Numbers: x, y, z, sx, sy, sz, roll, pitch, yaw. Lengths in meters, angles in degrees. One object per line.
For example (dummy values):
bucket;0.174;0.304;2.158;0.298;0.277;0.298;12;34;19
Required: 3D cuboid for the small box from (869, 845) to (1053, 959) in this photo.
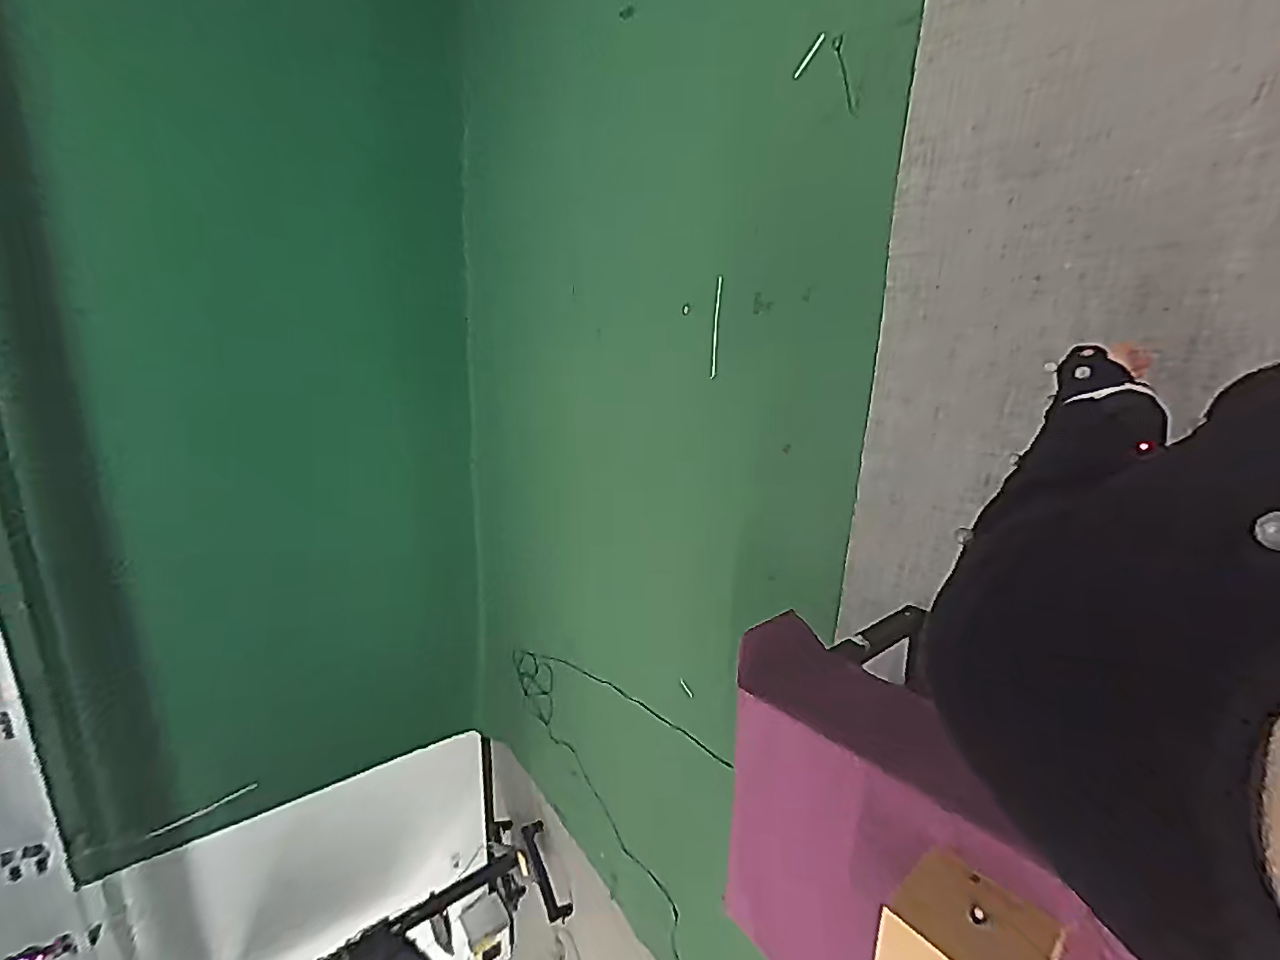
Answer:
small box;0.444;0.668;0.755;0.168;0.176;0.179;18;111;50
